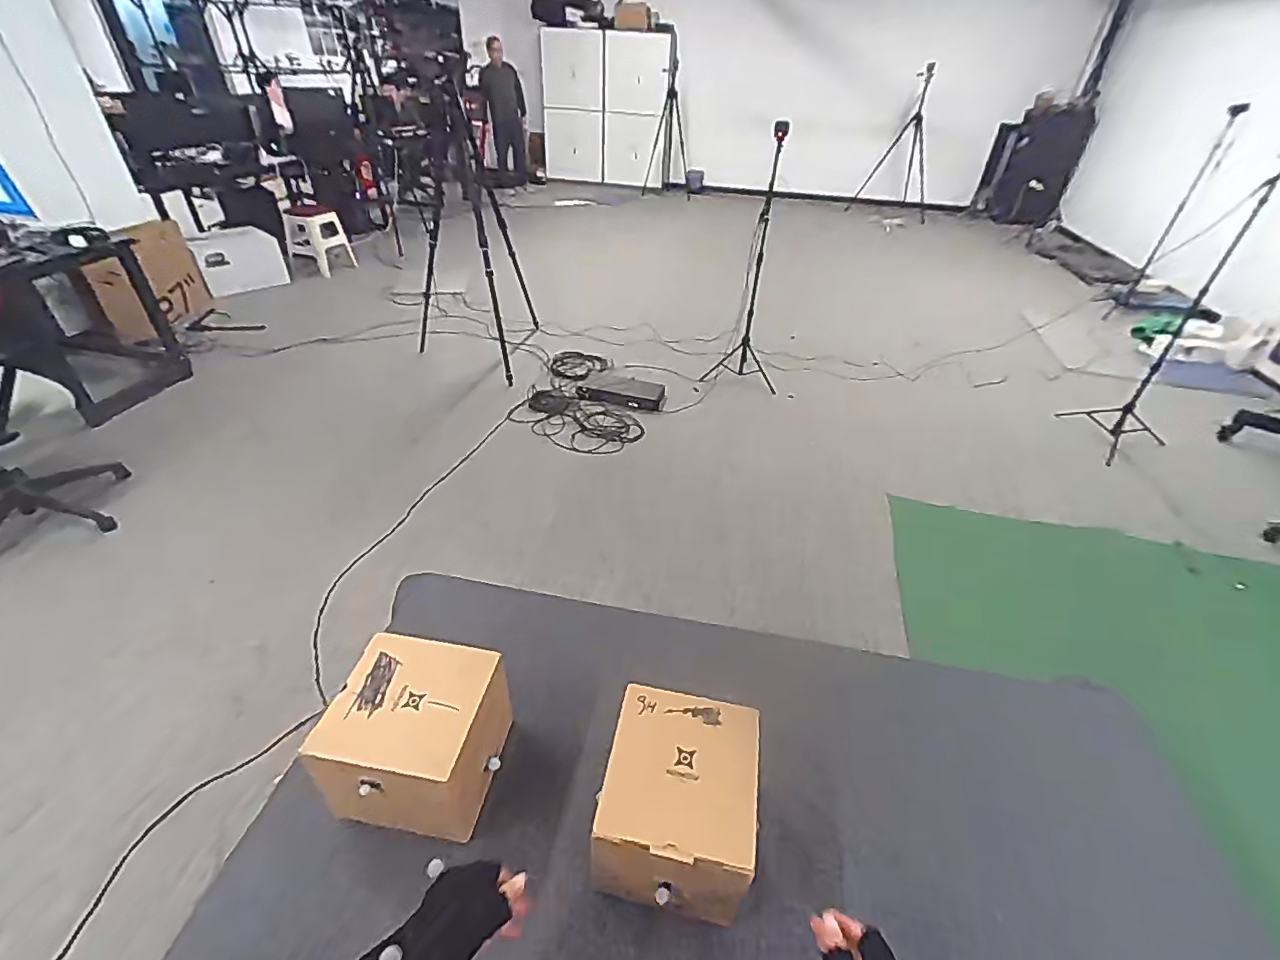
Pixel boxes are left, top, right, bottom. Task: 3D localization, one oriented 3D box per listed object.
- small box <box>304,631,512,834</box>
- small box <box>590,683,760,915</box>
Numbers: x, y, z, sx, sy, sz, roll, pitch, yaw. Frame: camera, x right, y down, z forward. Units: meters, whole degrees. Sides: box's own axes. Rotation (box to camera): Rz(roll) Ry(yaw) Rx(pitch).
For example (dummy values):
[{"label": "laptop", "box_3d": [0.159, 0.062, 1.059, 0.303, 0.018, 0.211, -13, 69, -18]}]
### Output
[{"label": "small box", "box_3d": [-0.278, 0.324, 0.696, 0.179, 0.176, 0.168, 9, 38, 5]}, {"label": "small box", "box_3d": [0.045, 0.381, 0.648, 0.168, 0.176, 0.179, 9, 38, 8]}]
